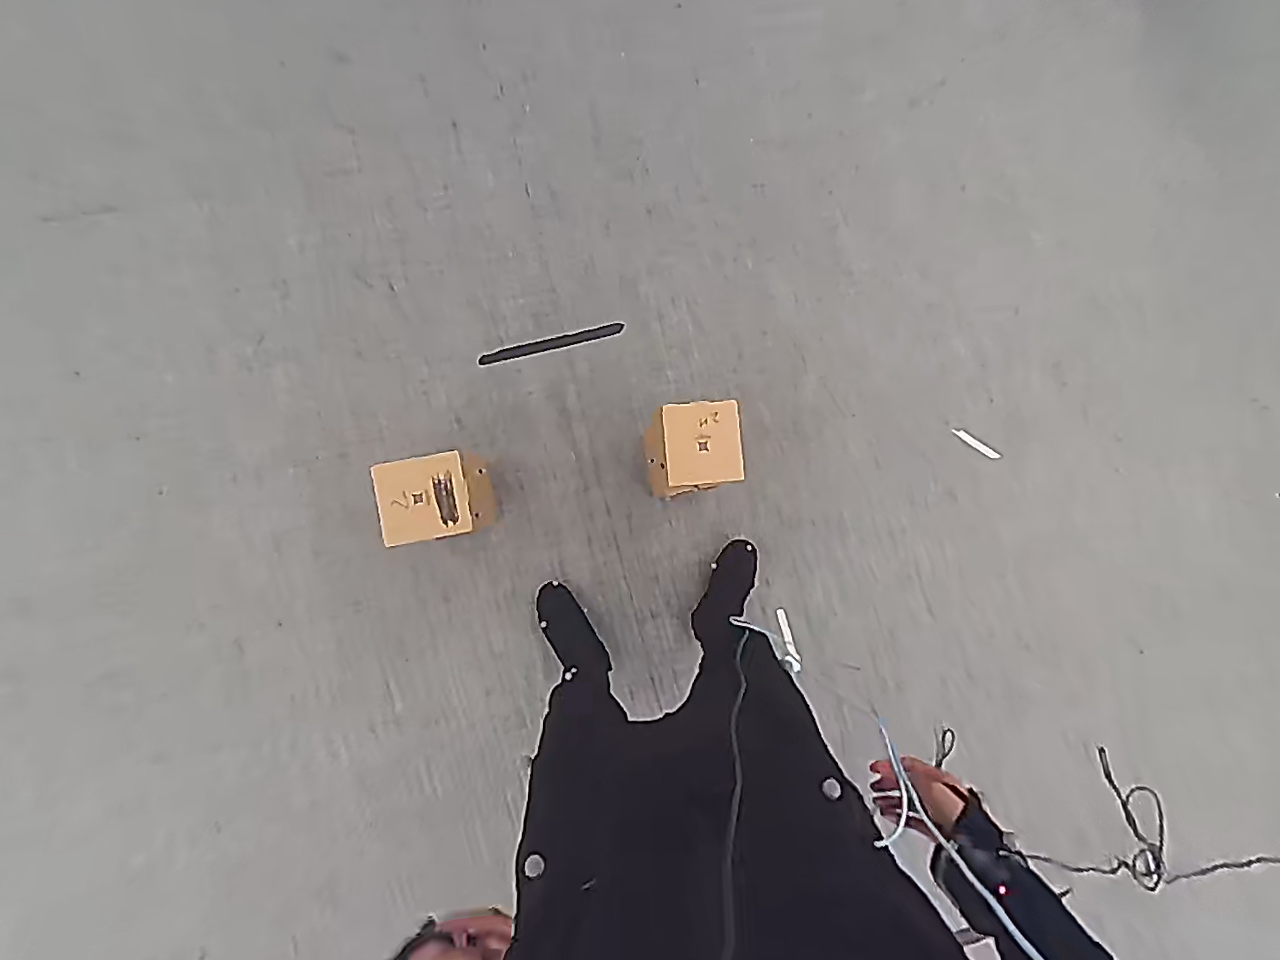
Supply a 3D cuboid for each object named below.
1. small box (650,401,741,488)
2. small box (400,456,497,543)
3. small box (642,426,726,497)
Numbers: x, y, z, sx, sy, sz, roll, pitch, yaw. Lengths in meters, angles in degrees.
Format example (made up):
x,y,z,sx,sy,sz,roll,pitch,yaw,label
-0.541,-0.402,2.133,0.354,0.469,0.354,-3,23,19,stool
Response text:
x,y,z,sx,sy,sz,roll,pitch,yaw,label
0.118,-0.073,1.210,0.168,0.176,0.179,-5,88,-8,small box
-0.453,0.046,1.305,0.168,0.176,0.179,-12,88,-7,small box
0.107,-0.055,1.374,0.168,0.176,0.179,-11,88,-8,small box
